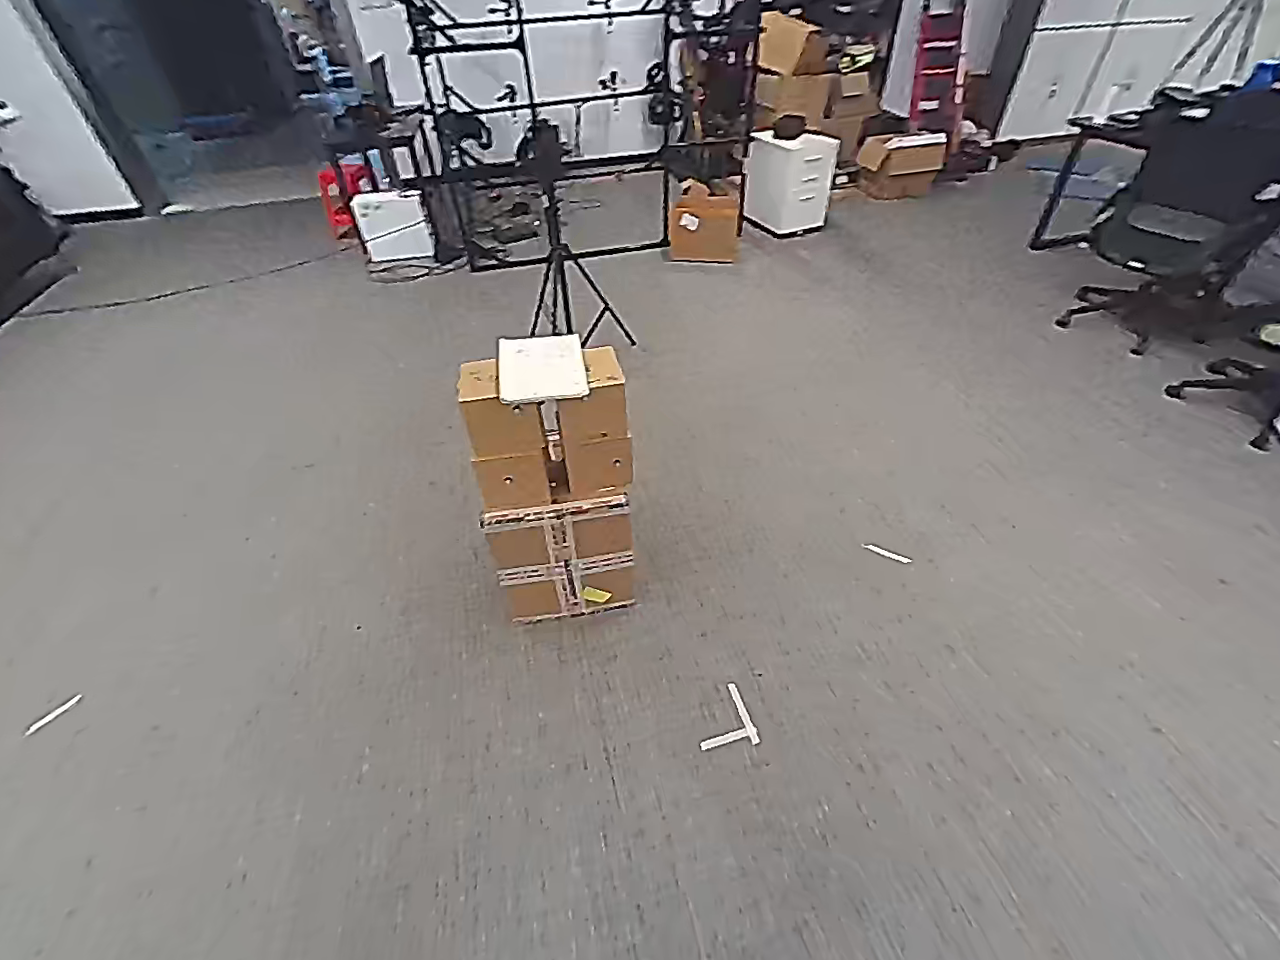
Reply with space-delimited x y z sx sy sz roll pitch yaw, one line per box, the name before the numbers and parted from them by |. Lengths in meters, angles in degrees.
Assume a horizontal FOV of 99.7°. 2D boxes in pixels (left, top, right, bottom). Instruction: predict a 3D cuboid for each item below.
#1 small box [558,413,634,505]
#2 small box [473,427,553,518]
small box | -0.117 -0.056 1.467 0.179 0.176 0.168 -11 45 -10
small box | -0.327 -0.018 1.437 0.179 0.176 0.168 -6 45 -2
